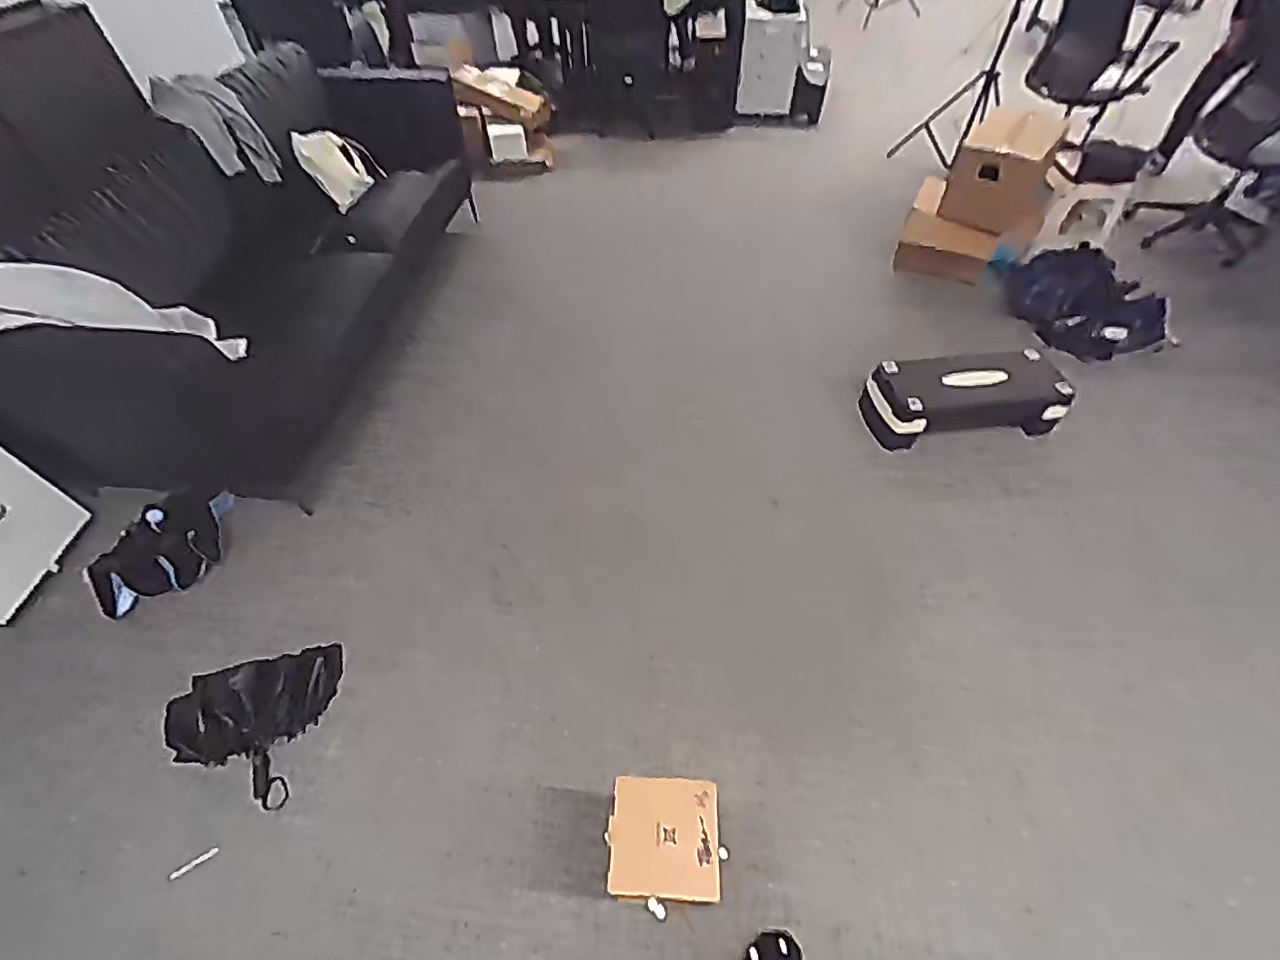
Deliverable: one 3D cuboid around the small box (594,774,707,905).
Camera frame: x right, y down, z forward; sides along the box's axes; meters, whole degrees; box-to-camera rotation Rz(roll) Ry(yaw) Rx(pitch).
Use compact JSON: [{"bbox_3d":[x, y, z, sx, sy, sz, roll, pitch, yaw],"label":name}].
[{"bbox_3d":[0.024,0.626,0.938,0.179,0.176,0.168,2,51,4],"label":"small box"}]
